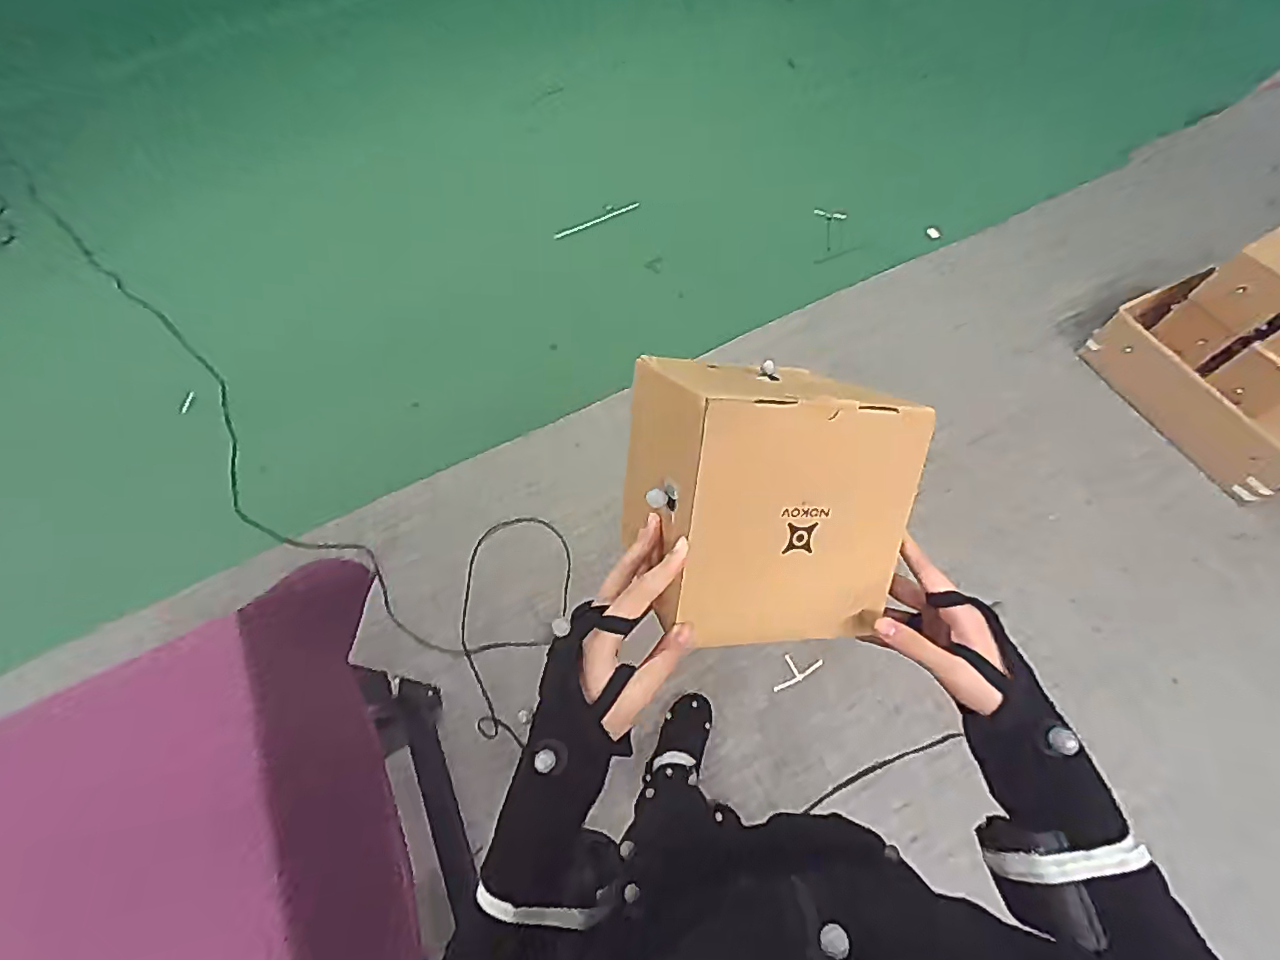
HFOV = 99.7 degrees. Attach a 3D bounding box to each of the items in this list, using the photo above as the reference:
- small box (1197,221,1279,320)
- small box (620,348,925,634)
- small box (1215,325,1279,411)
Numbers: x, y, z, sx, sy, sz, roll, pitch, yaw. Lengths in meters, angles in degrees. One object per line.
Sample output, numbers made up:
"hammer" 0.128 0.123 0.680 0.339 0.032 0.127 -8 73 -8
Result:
"small box" 1.656 -0.546 1.415 0.168 0.176 0.179 -29 65 -8
"small box" 0.082 -0.002 0.433 0.168 0.179 0.176 0 20 -14
"small box" 1.766 -0.321 1.480 0.179 0.176 0.168 -25 63 -7
